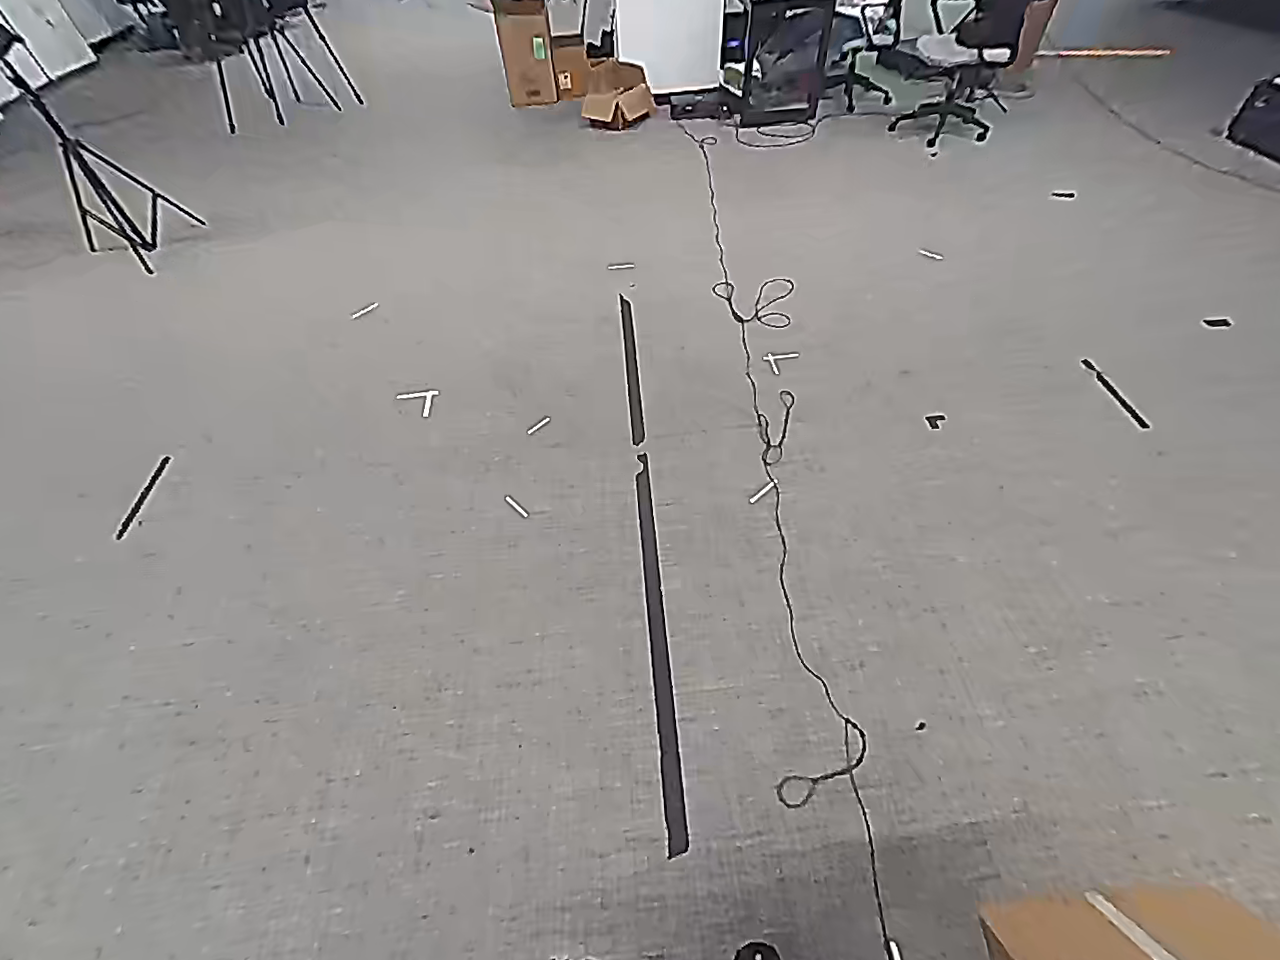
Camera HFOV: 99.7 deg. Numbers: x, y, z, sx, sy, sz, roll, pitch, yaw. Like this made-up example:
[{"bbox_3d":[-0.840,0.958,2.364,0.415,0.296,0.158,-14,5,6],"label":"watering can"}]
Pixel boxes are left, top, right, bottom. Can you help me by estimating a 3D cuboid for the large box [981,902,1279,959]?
[{"bbox_3d":[0.637,0.722,0.548,0.320,0.408,0.320,-12,77,7],"label":"large box"}]
